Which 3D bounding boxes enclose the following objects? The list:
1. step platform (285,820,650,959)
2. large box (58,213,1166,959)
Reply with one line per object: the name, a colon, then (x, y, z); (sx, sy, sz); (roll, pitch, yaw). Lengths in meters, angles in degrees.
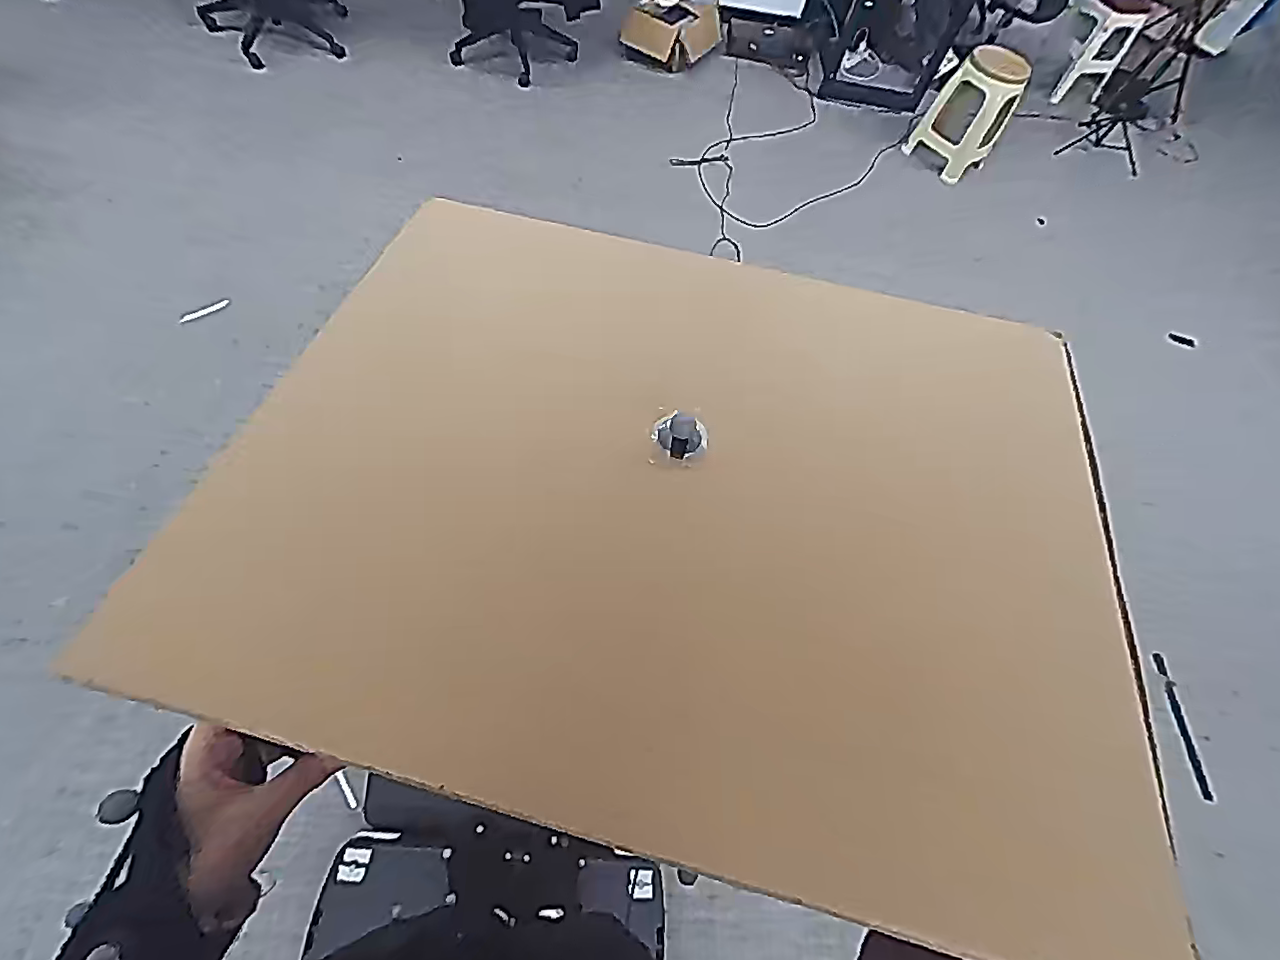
step platform: (-0.321, 0.907, 1.094); (0.684, 0.204, 0.286); (11, 61, -1)
large box: (-0.002, 0.061, 0.385); (0.408, 0.320, 0.320); (12, 61, 6)
